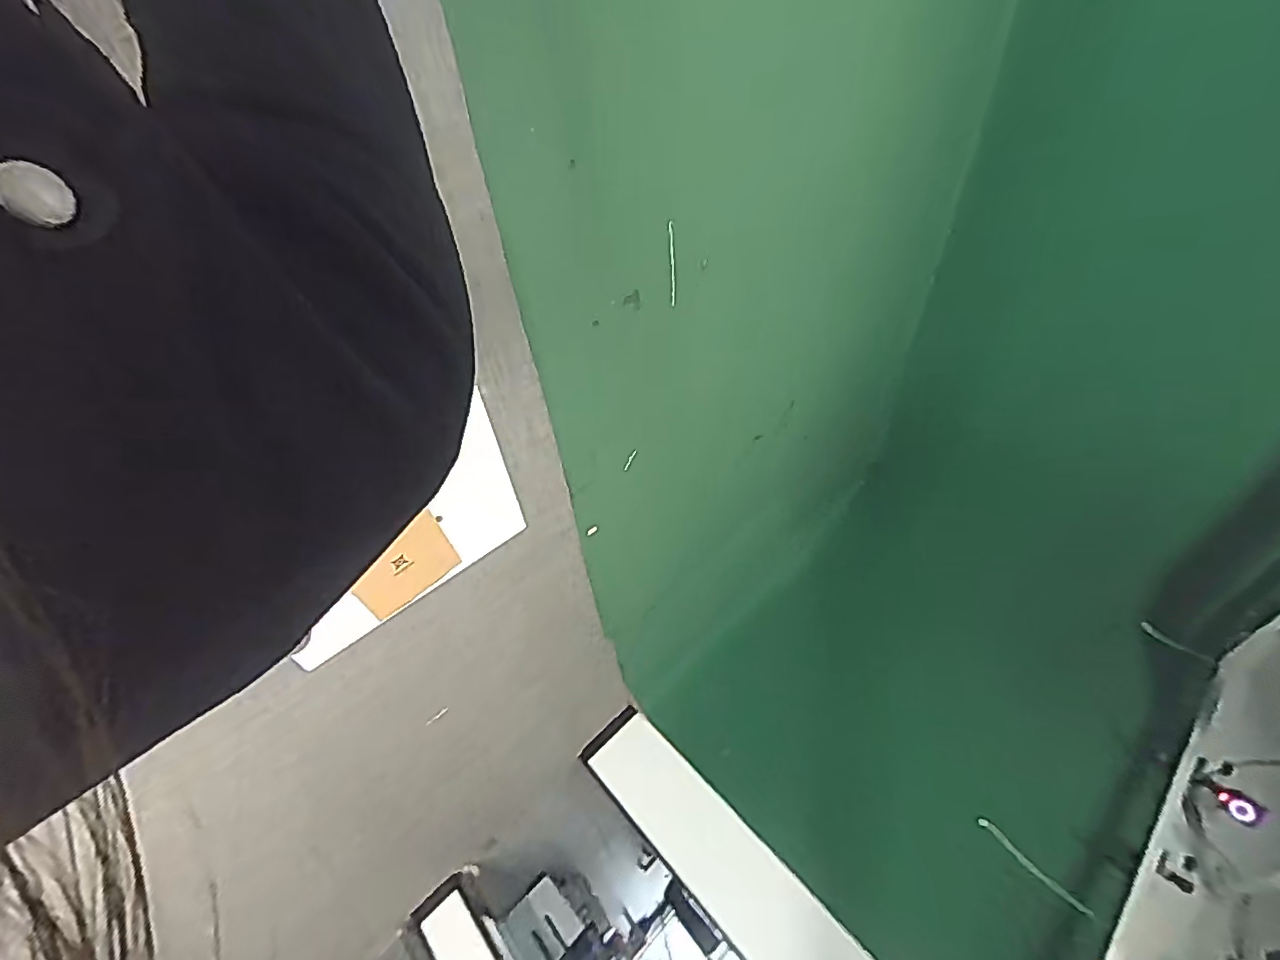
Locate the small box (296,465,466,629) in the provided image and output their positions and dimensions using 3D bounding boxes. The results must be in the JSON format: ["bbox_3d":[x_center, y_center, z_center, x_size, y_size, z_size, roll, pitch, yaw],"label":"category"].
[{"bbox_3d":[-0.429,0.107,0.905,0.168,0.176,0.179,-39,141,-23],"label":"small box"}]
